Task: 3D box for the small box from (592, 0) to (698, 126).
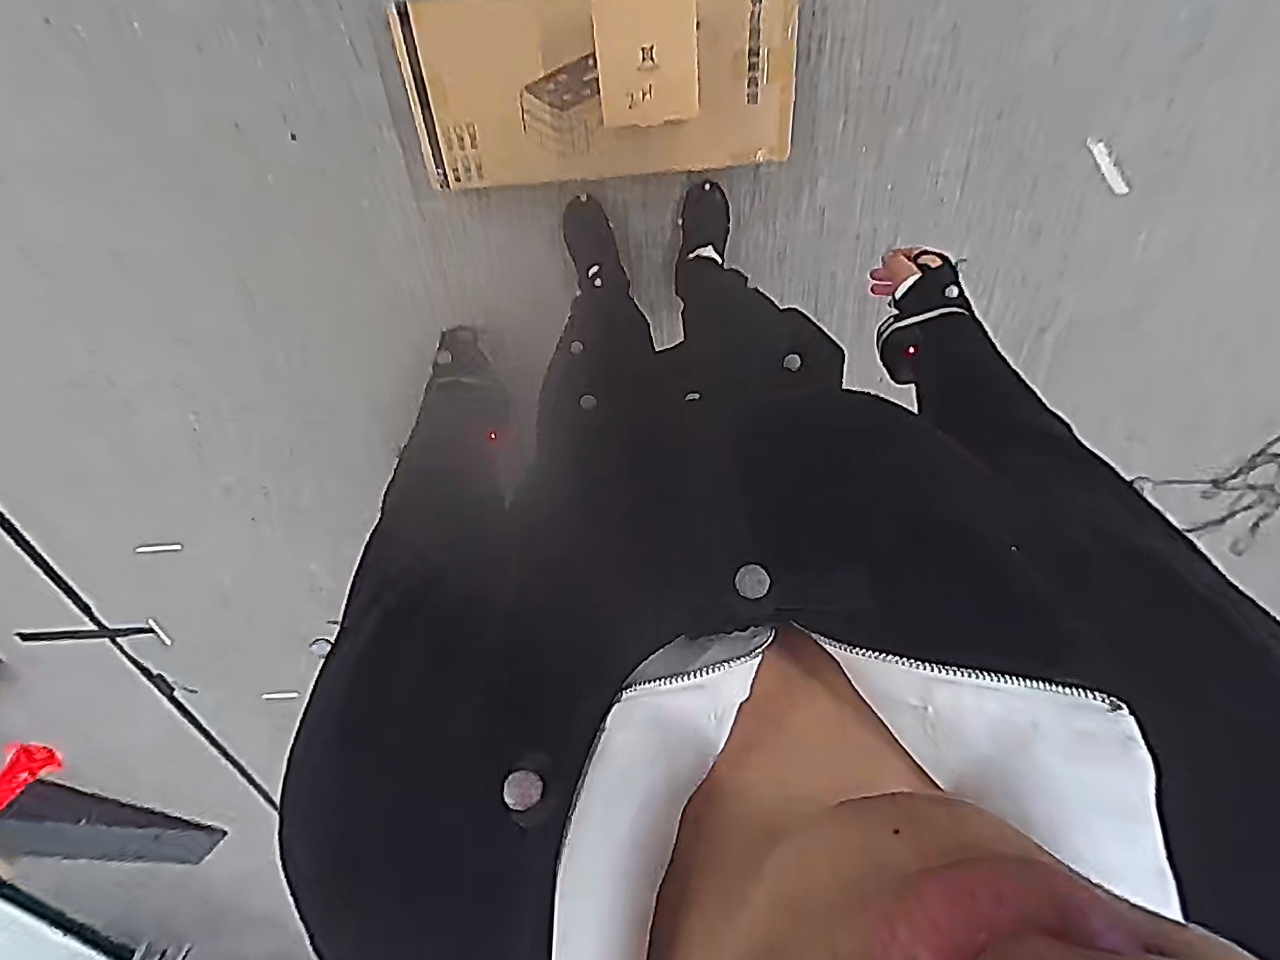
[{"bbox_3d":[0.009,-0.728,0.942,0.168,0.176,0.179,-4,124,2],"label":"small box"}]
